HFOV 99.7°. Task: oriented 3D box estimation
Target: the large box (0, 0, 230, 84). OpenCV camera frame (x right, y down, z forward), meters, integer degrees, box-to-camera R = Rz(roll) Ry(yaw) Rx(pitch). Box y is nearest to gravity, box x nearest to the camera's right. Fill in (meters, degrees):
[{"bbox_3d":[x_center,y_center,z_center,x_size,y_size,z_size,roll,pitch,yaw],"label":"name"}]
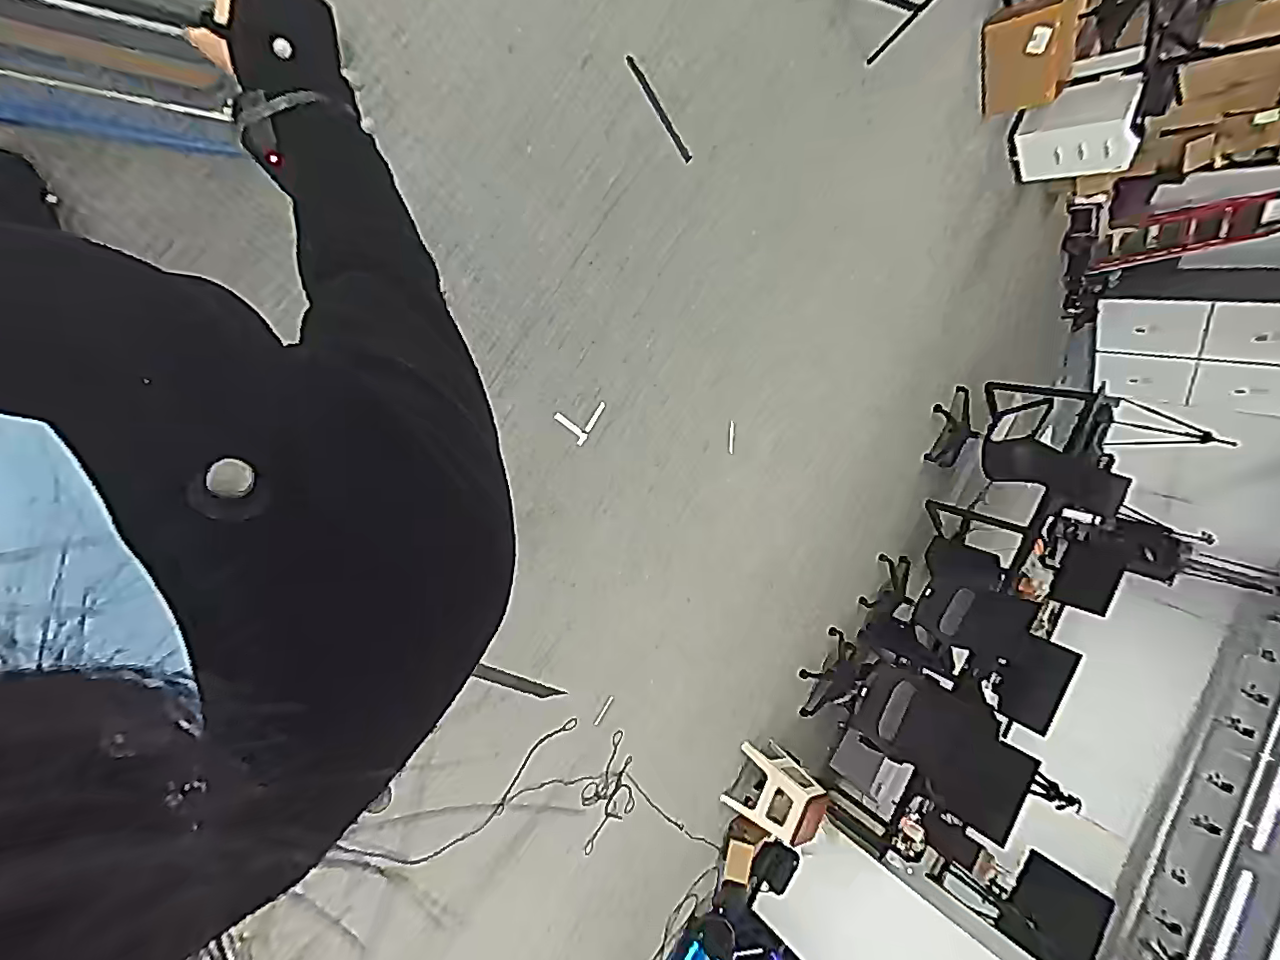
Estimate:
[{"bbox_3d":[-0.792,-0.747,0.651,0.408,0.320,0.320,-14,115,-41],"label":"large box"}]
